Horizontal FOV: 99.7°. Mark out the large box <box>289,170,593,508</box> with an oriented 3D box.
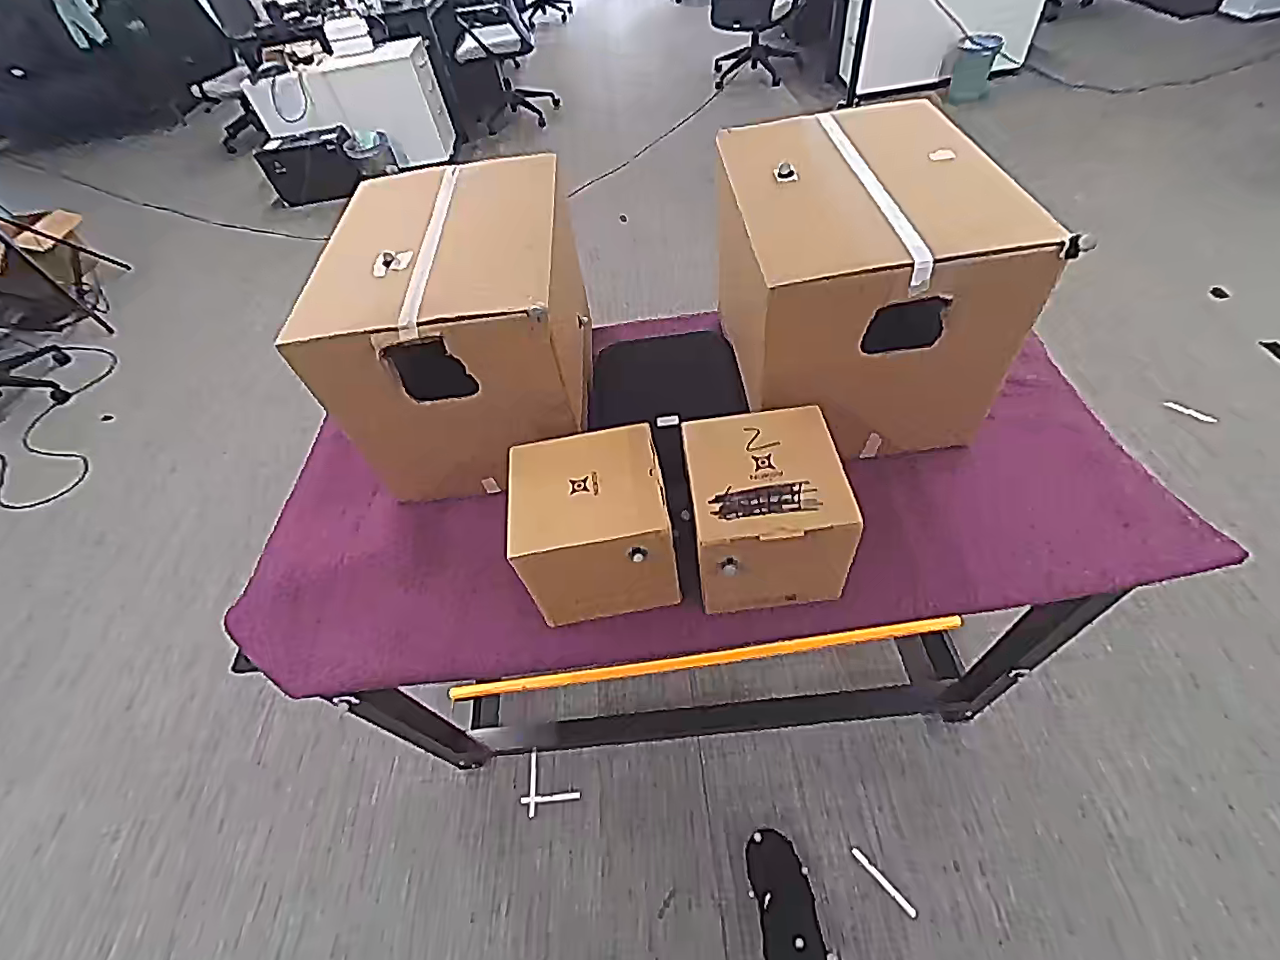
[{"bbox_3d":[-0.254,-0.217,0.844,0.320,0.320,0.408,-8,54,3],"label":"large box"}]
